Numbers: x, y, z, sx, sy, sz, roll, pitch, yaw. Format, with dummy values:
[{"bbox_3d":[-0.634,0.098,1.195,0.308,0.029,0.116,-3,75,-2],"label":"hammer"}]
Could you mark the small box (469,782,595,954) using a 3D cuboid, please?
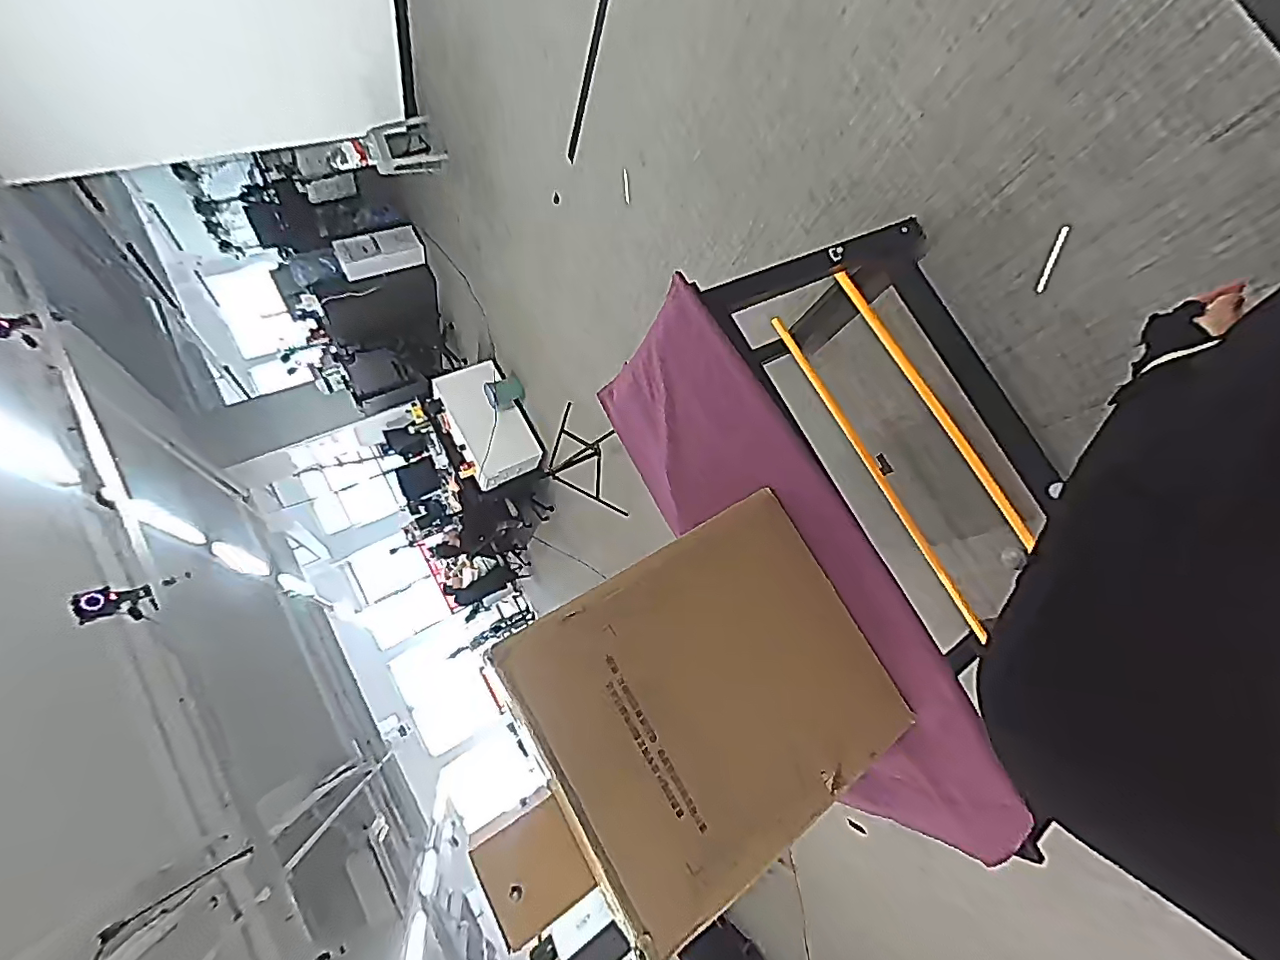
[{"bbox_3d":[-0.203,0.709,1.012,0.179,0.176,0.168,60,156,12],"label":"small box"}]
